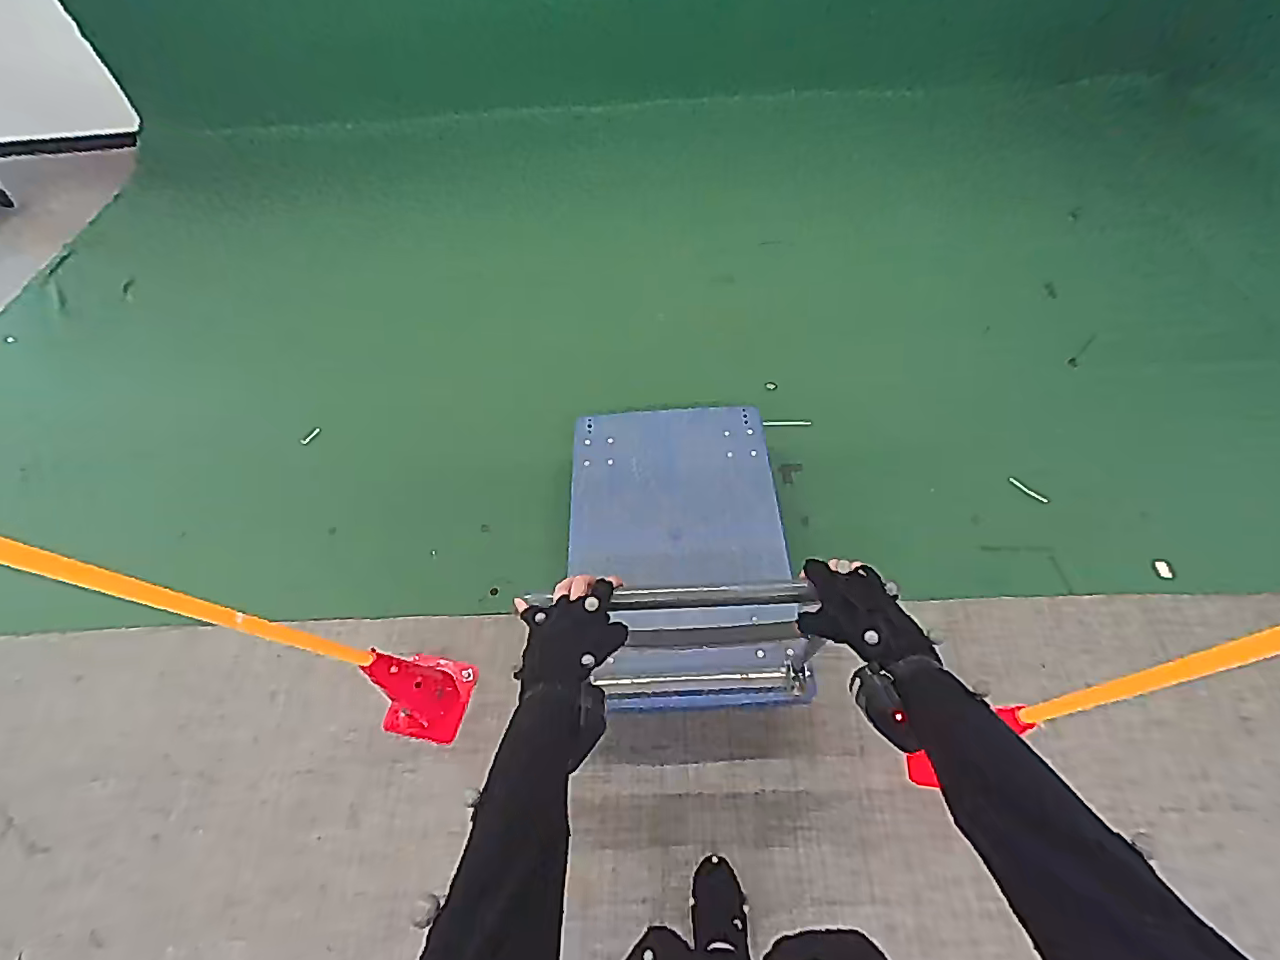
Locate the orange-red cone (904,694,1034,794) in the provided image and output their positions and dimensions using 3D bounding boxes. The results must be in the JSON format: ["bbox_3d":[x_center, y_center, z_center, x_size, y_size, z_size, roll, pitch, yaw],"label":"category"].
[{"bbox_3d":[0.725,0.531,1.148,0.198,0.360,0.199,7,58,9],"label":"orange-red cone"}]
